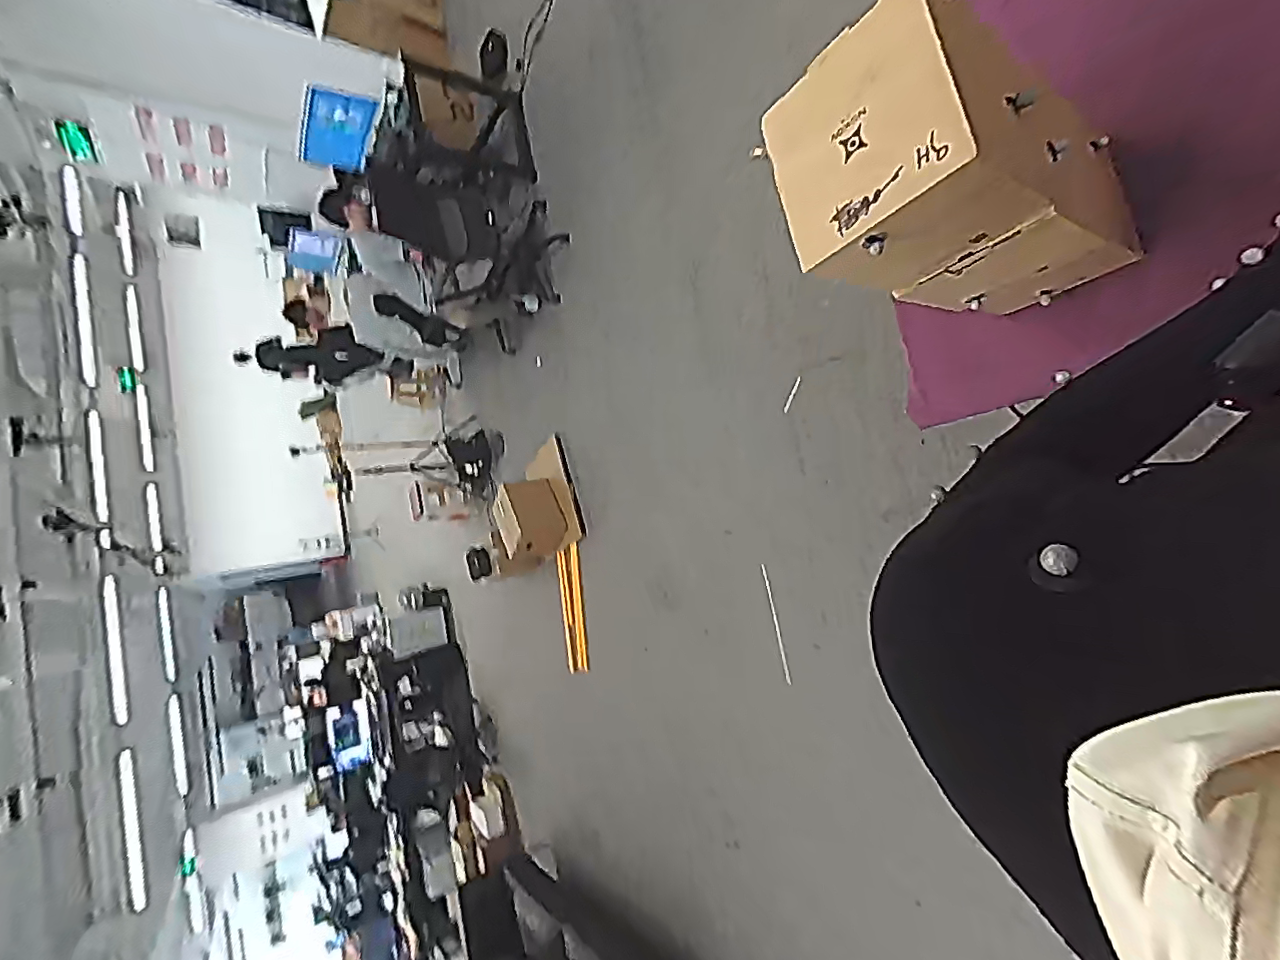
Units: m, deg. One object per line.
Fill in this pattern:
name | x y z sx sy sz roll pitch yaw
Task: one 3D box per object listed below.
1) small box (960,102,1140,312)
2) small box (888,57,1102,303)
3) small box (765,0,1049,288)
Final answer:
small box | 0.517 -0.342 0.719 0.168 0.176 0.179 -22 78 53
small box | 0.388 -0.319 0.621 0.168 0.176 0.179 -22 76 53
small box | 0.254 -0.311 0.526 0.168 0.176 0.179 -23 76 54
